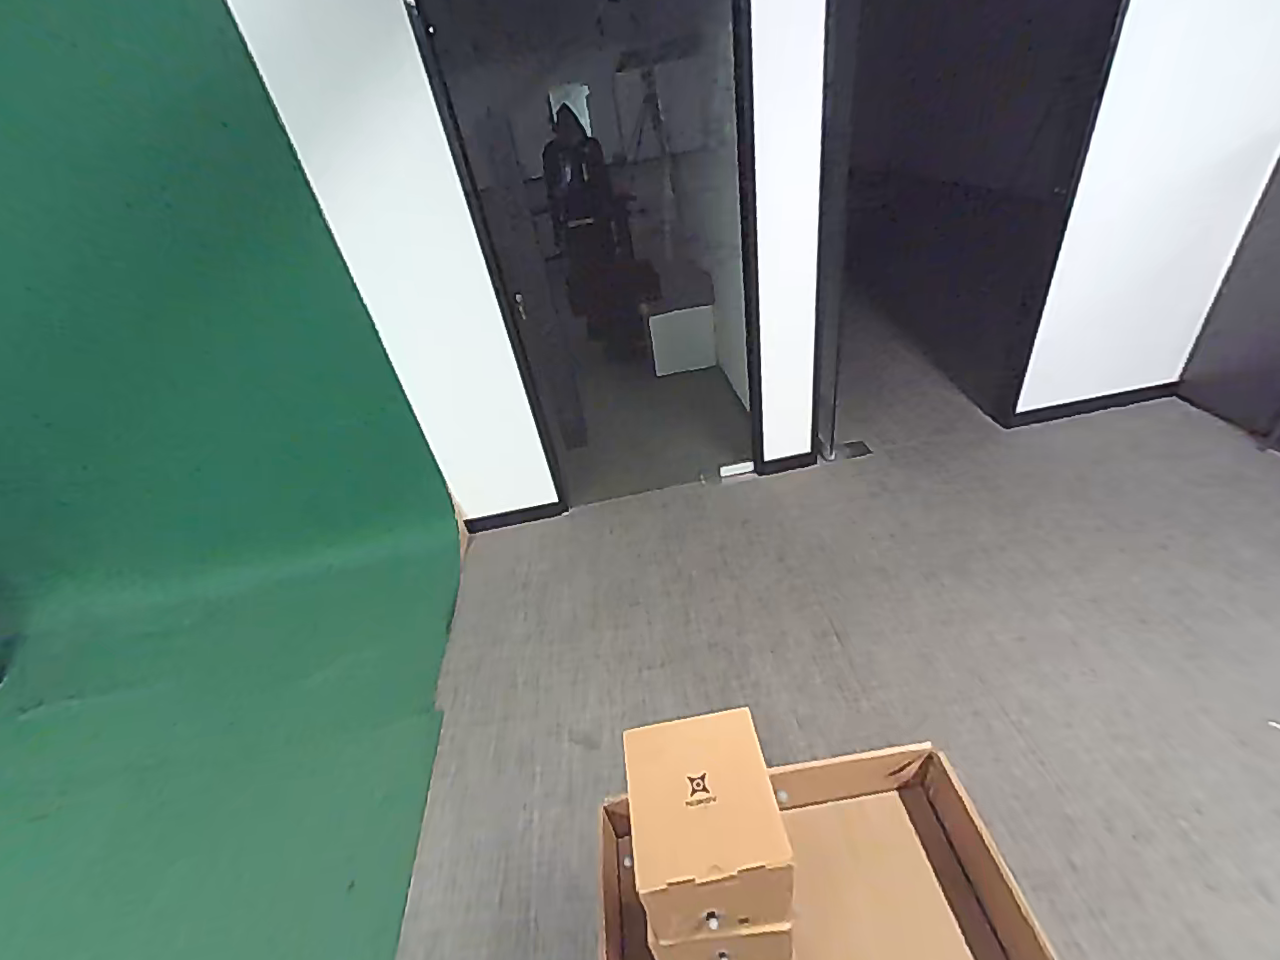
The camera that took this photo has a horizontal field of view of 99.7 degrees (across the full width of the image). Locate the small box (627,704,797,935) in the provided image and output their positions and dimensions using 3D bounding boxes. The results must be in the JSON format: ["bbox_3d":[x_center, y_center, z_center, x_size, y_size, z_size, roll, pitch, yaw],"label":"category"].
[{"bbox_3d":[0.083,0.411,0.662,0.168,0.176,0.179,-11,35,0],"label":"small box"}]
